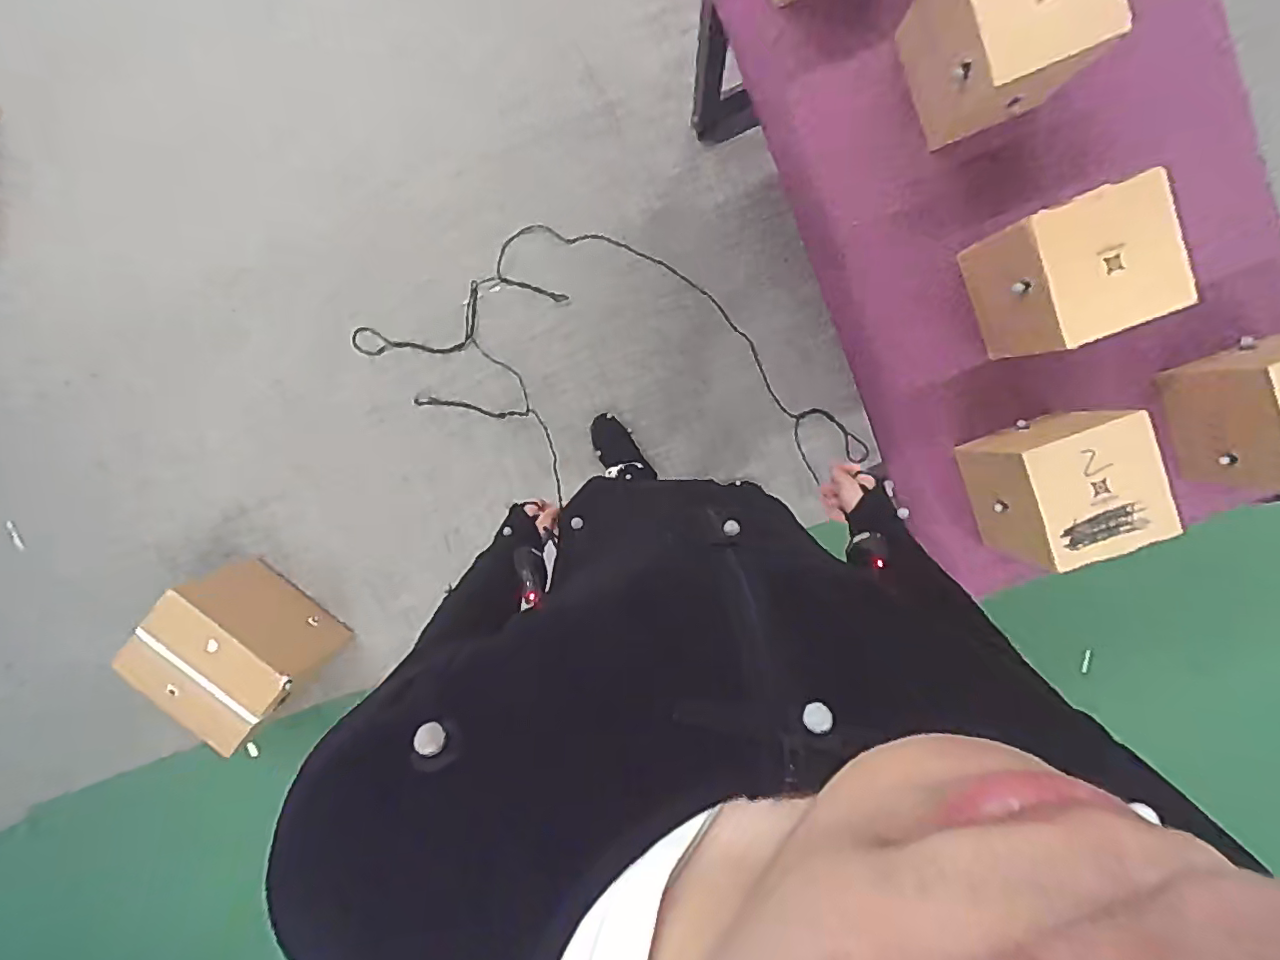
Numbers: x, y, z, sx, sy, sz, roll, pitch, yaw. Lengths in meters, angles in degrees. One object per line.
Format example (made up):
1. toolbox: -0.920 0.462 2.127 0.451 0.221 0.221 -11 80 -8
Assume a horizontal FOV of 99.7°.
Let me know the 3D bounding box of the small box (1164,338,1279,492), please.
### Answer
1. small box: 0.897 -0.099 0.750 0.168 0.176 0.179 -20 96 7

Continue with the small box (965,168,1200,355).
1. small box: 0.591 -0.281 0.746 0.168 0.176 0.179 -21 95 6

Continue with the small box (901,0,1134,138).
1. small box: 0.475 -0.587 0.707 0.168 0.176 0.179 -21 96 5
